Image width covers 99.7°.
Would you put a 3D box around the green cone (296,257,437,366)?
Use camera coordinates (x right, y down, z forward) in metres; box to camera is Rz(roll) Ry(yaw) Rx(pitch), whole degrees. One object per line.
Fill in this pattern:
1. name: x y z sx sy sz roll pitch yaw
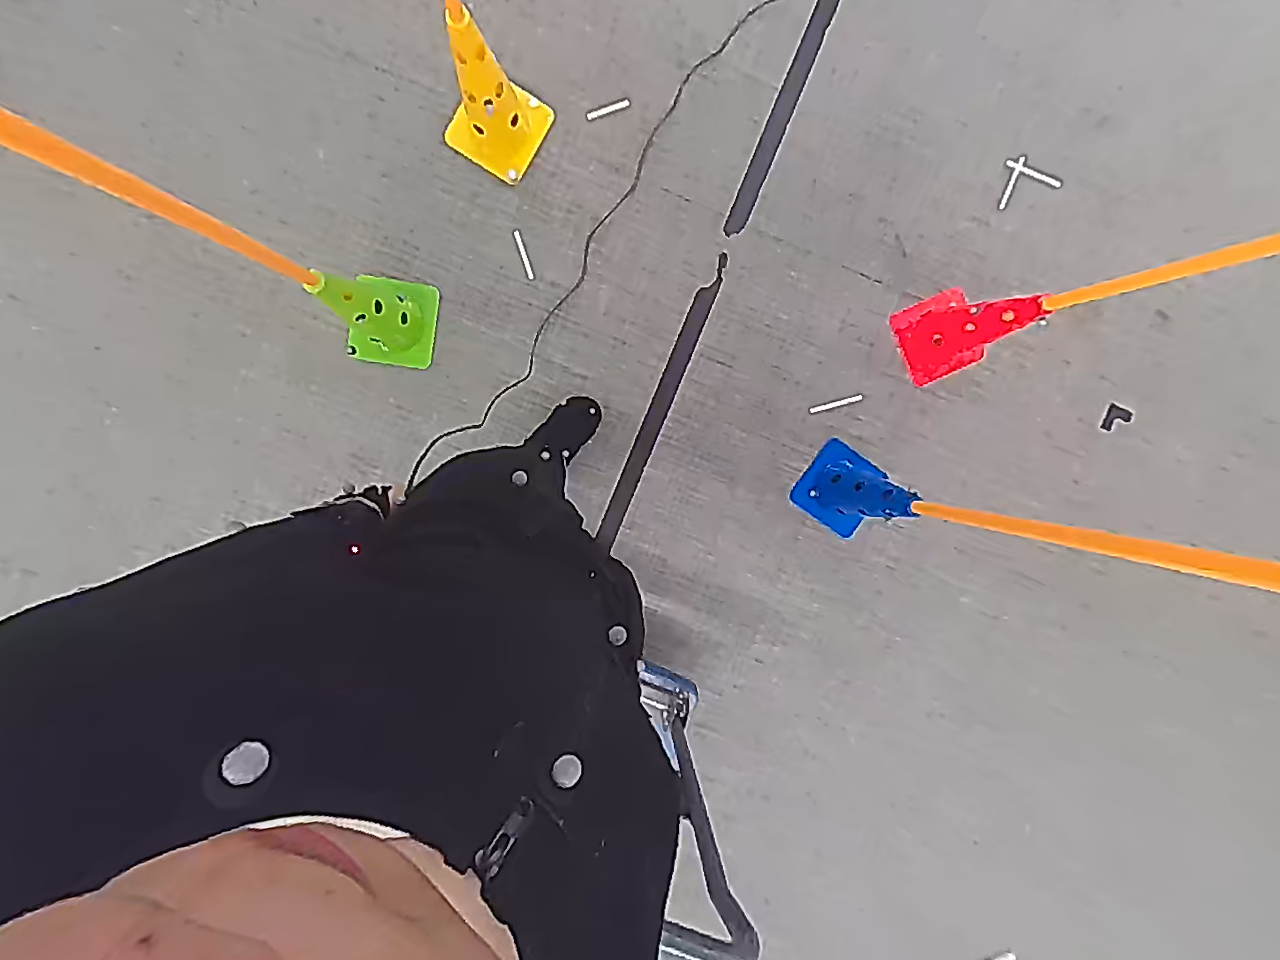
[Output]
1. green cone: -0.581 -0.370 1.110 0.200 0.368 0.202 8 93 -4

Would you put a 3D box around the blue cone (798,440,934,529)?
1. blue cone: 0.528 0.025 1.216 0.193 0.380 0.192 37 91 -5

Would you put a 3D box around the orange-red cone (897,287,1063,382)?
1. orange-red cone: 0.765 -0.349 1.183 0.199 0.360 0.198 -23 95 0
